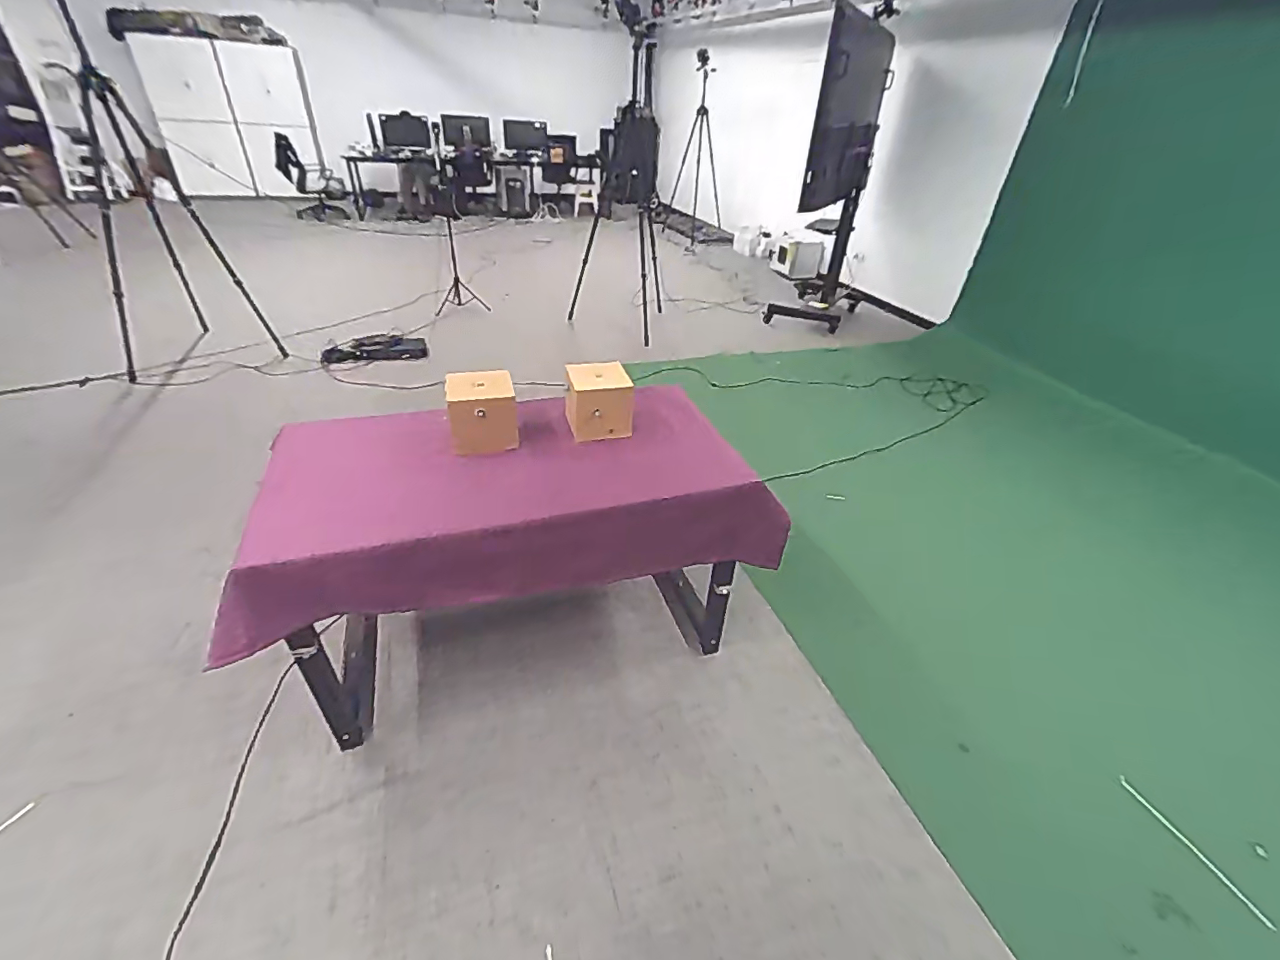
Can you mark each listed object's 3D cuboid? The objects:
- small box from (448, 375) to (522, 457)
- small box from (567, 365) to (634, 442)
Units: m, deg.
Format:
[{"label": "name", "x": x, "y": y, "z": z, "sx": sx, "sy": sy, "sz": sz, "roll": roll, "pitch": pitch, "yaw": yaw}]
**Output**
[{"label": "small box", "x": -0.429, "y": -0.176, "z": 1.499, "sx": 0.179, "sy": 0.176, "sz": 0.168, "roll": -7, "pitch": 37, "yaw": -15}, {"label": "small box", "x": -0.116, "y": -0.221, "z": 1.588, "sx": 0.168, "sy": 0.176, "sz": 0.179, "roll": -7, "pitch": 35, "yaw": -14}]
